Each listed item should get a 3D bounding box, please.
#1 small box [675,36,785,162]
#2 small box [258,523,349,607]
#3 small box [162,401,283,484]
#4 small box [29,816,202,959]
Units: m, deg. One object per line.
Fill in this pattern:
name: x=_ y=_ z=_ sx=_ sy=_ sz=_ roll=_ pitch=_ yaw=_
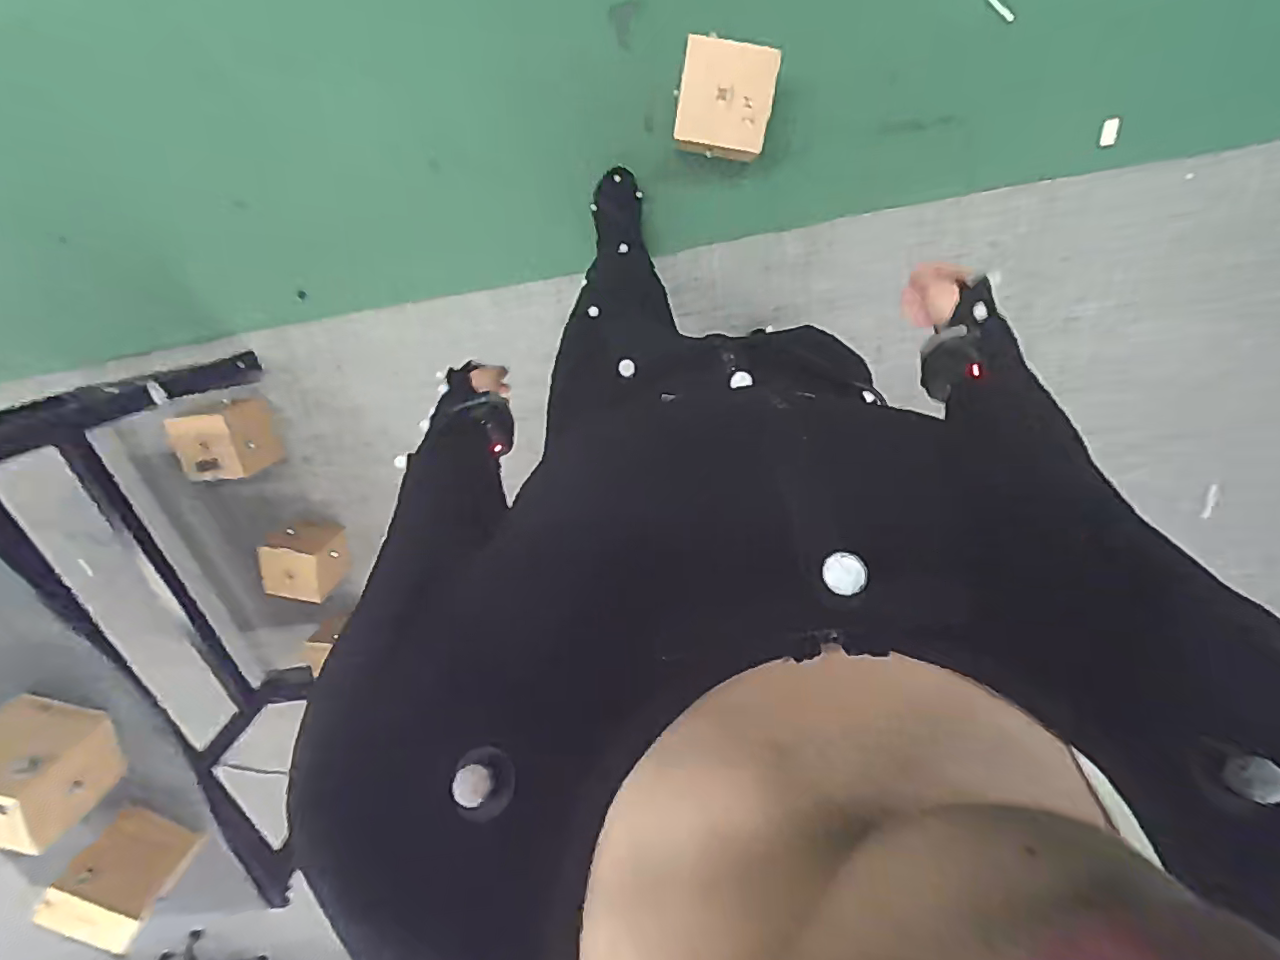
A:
small box: x=0.168 y=-0.748 z=1.081 sx=0.179 sy=0.176 sz=0.168 roll=9 pitch=116 yaw=-2
small box: x=-1.002 y=0.251 z=1.625 sx=0.168 sy=0.176 sz=0.179 roll=10 pitch=117 yaw=-1
small box: x=-1.113 y=-0.104 z=1.460 sx=0.168 sy=0.176 sz=0.179 roll=-4 pitch=114 yaw=4
small box: x=-1.049 y=0.825 z=1.095 sx=0.179 sy=0.176 sz=0.168 roll=35 pitch=112 yaw=-13
